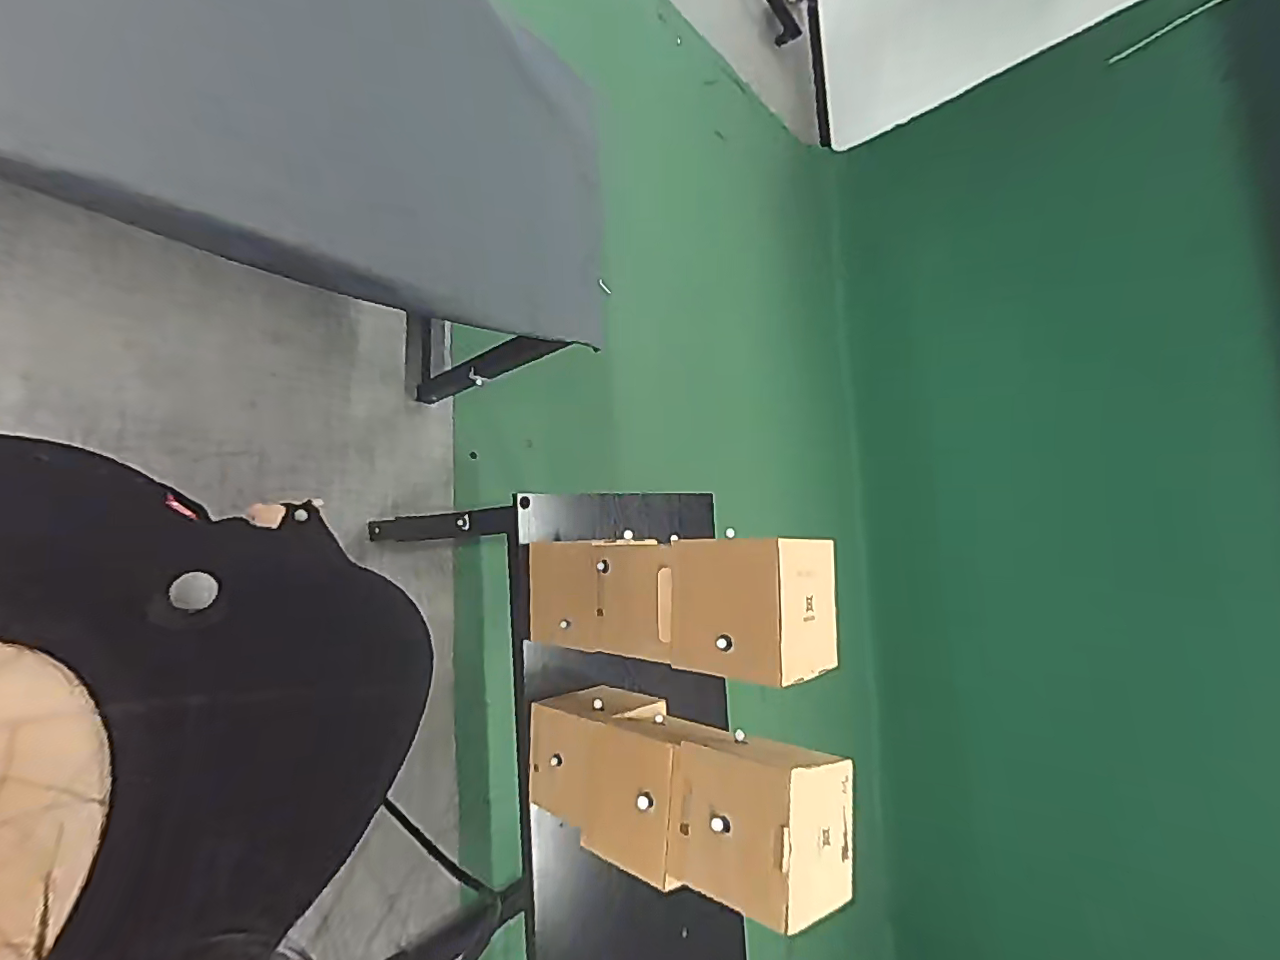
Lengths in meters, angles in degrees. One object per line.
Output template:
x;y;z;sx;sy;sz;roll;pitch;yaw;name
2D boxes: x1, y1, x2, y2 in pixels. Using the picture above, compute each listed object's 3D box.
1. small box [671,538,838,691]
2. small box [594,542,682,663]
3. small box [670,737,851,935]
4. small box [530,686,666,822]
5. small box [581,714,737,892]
0.154;0.169;0.739;0.168;0.176;0.179;8;79;-48;small box
0.041;0.183;0.856;0.179;0.176;0.168;7;81;-47;small box
0.158;0.444;0.709;0.179;0.176;0.168;22;68;-42;small box
-0.074;0.466;0.936;0.179;0.176;0.168;8;79;-46;small box
0.030;0.464;0.810;0.168;0.176;0.179;19;71;-44;small box
